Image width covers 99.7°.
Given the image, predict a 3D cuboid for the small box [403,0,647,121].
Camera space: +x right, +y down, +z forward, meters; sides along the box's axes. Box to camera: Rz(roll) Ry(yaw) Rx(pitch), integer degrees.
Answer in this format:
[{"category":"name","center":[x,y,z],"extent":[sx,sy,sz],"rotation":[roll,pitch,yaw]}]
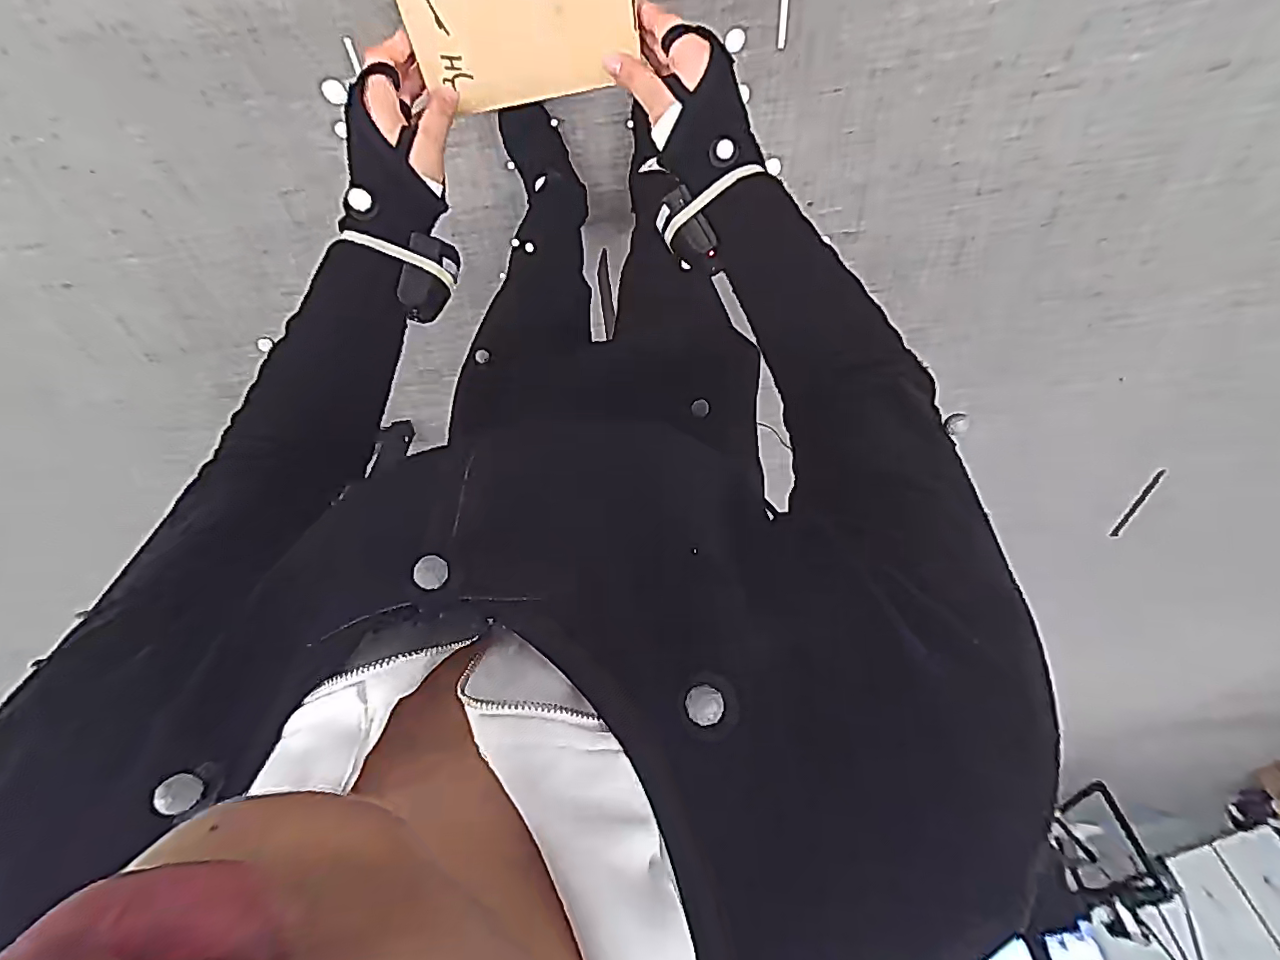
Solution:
[{"category":"small box","center":[-0.098,-0.424,0.446],"extent":[0.179,0.176,0.168],"rotation":[-9,135,2]}]
